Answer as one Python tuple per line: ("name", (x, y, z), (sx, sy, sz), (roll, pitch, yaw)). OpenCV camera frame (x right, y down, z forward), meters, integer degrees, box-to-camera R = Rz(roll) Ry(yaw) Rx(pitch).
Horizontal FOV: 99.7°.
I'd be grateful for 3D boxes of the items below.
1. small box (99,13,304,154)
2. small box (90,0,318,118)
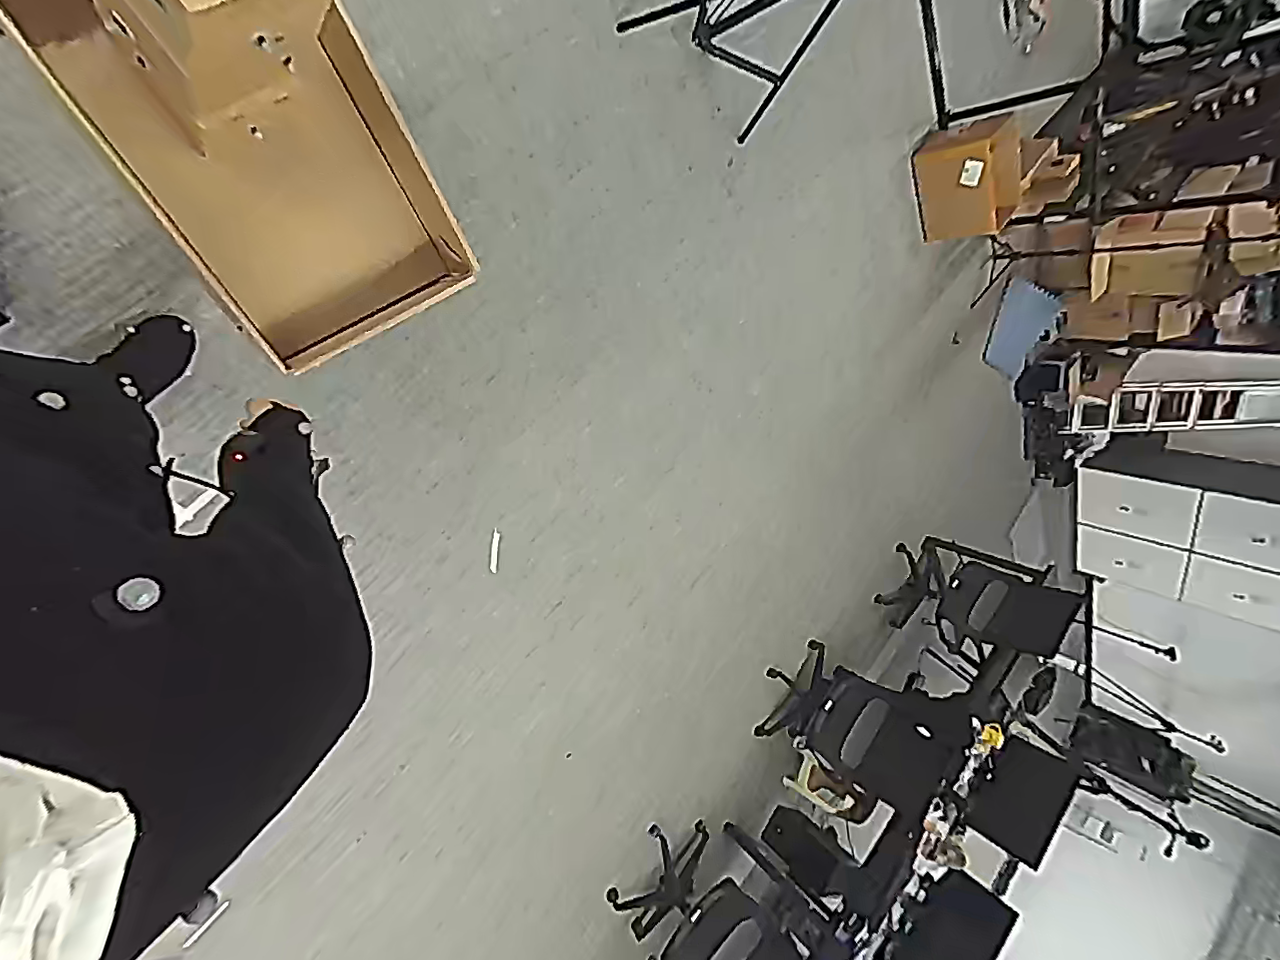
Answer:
("small box", (-0.637, -0.615, 0.790), (0.168, 0.176, 0.179), (-42, 126, -20))
("small box", (-0.541, -0.584, 0.661), (0.179, 0.176, 0.168), (-45, 126, -20))
